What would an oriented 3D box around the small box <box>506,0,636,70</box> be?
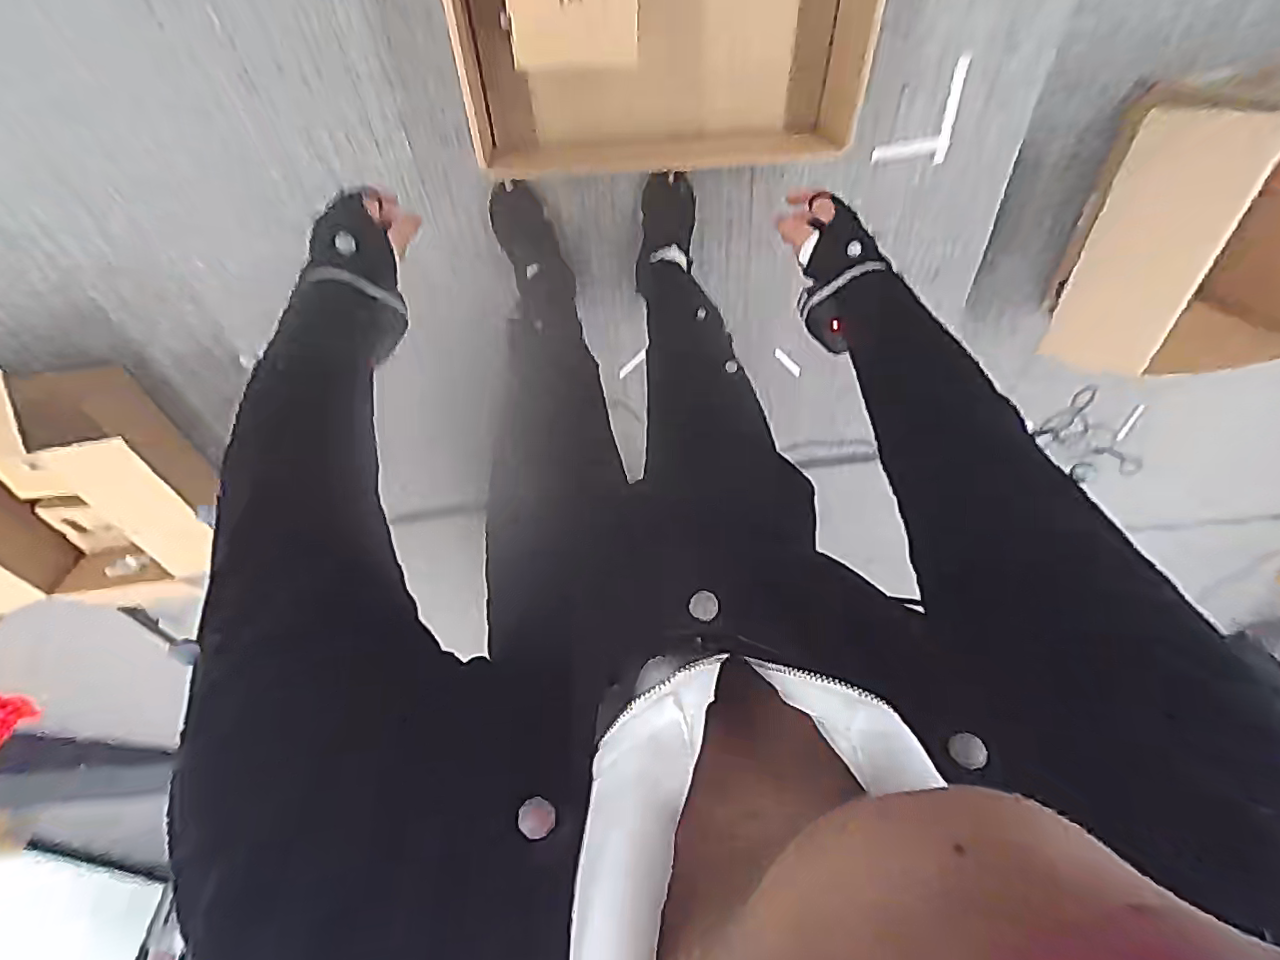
[{"bbox_3d":[-0.103,-0.704,0.773,0.179,0.176,0.168,-7,137,-5],"label":"small box"}]
